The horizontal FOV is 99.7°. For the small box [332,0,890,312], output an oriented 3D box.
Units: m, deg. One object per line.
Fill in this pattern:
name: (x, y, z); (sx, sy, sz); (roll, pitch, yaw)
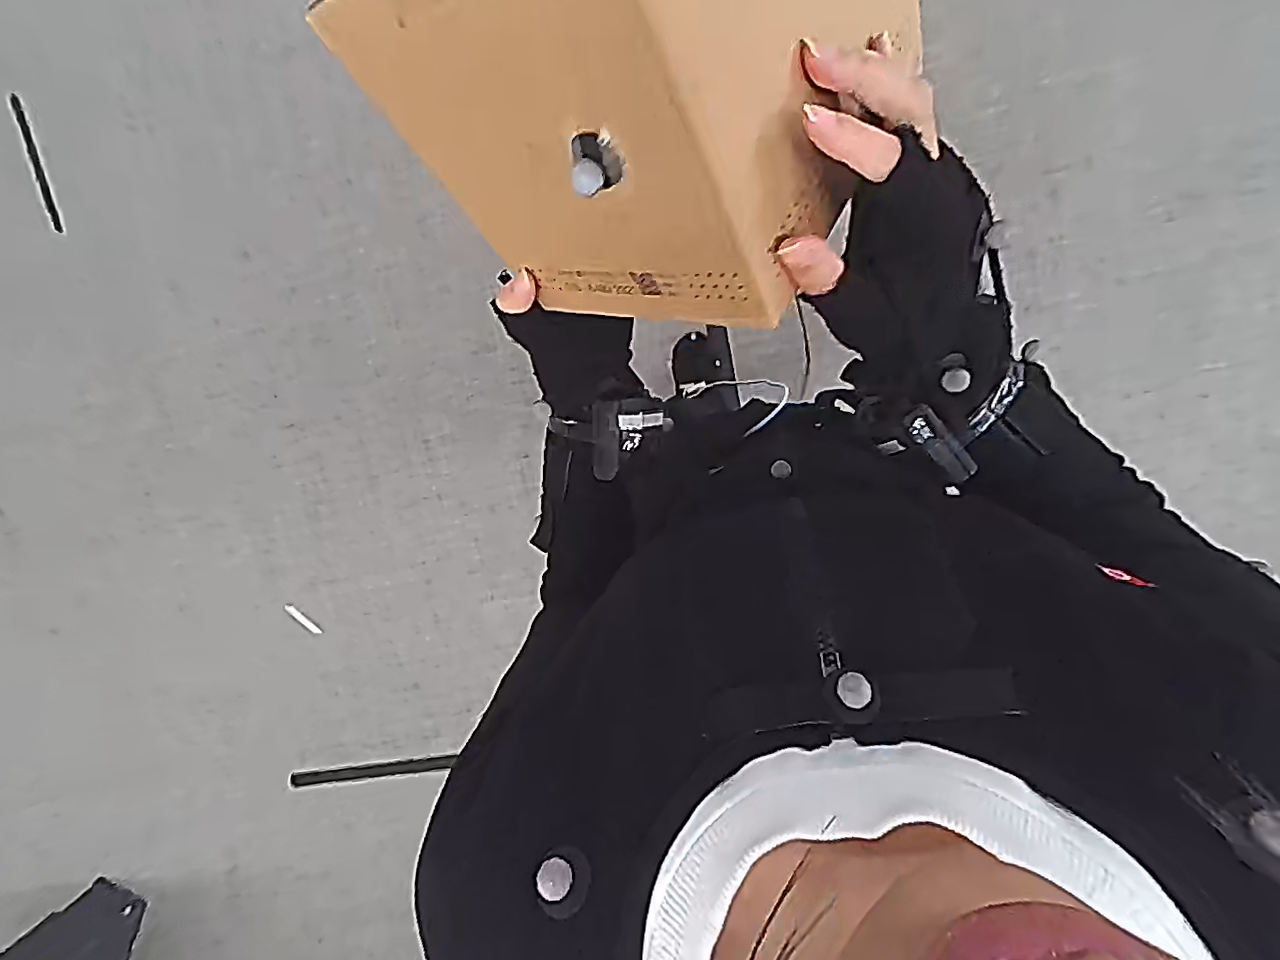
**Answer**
small box: (0.002, -0.205, 0.263); (0.168, 0.176, 0.179); (21, 74, 40)
